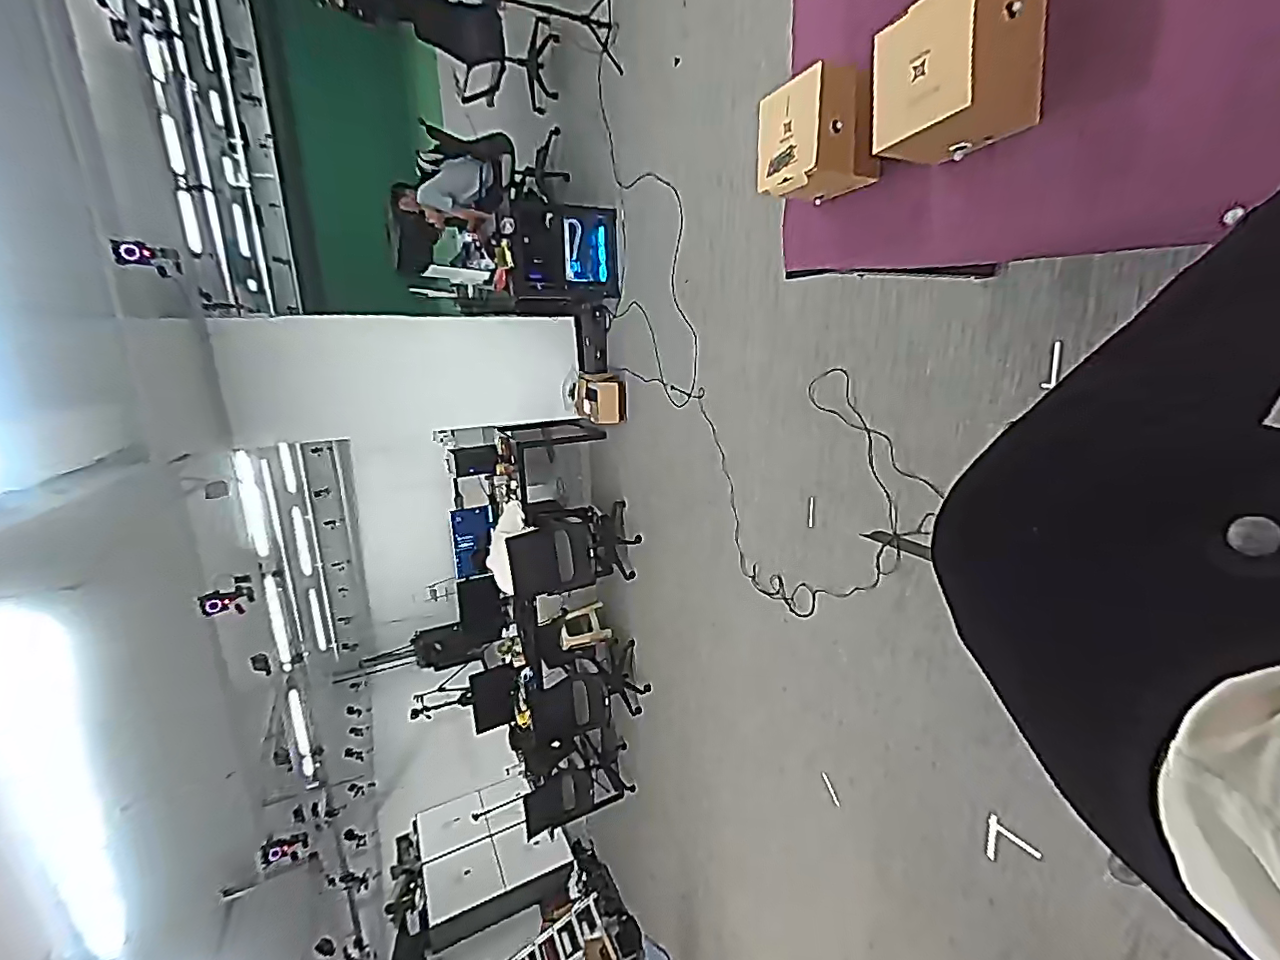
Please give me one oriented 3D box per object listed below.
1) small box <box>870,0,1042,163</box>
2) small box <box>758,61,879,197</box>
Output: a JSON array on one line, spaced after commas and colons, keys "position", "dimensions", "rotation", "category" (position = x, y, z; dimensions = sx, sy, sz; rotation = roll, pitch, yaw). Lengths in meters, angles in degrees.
[{"position": [0.480, -0.617, 0.828], "dimensions": [0.168, 0.176, 0.179], "rotation": [16, 112, 63], "category": "small box"}, {"position": [0.352, -0.674, 1.064], "dimensions": [0.168, 0.176, 0.179], "rotation": [21, 115, 60], "category": "small box"}]
